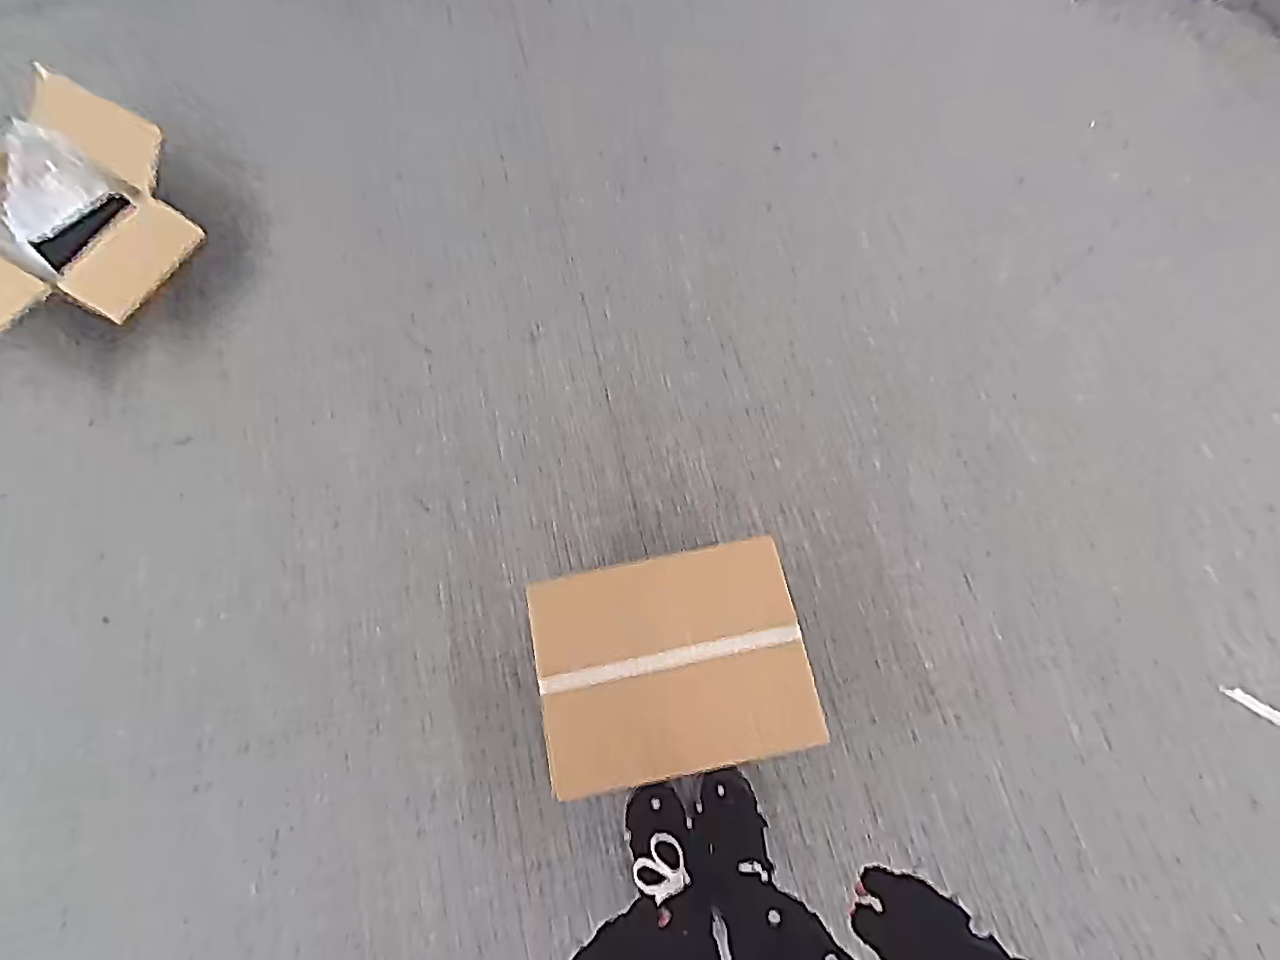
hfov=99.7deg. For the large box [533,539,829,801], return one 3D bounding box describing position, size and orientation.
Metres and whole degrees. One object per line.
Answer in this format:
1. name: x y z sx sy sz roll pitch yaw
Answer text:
1. large box: 0.056 0.325 0.965 0.408 0.320 0.320 -12 73 -2
